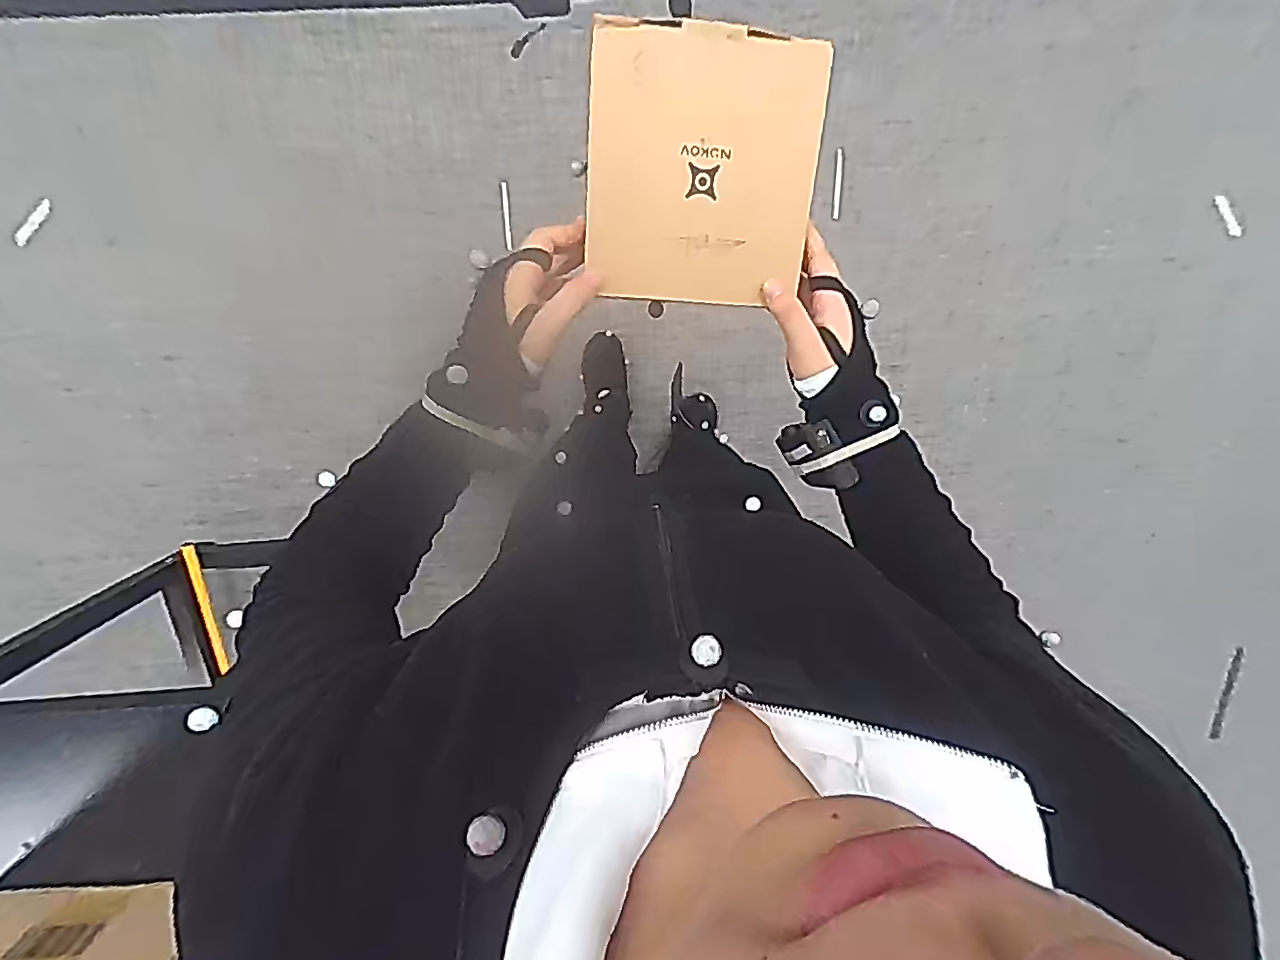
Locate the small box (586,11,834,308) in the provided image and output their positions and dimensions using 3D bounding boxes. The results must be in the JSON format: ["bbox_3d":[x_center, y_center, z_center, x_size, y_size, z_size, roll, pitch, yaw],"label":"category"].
[{"bbox_3d":[0.039,-0.247,0.459,0.168,0.176,0.179,2,112,-5],"label":"small box"}]
